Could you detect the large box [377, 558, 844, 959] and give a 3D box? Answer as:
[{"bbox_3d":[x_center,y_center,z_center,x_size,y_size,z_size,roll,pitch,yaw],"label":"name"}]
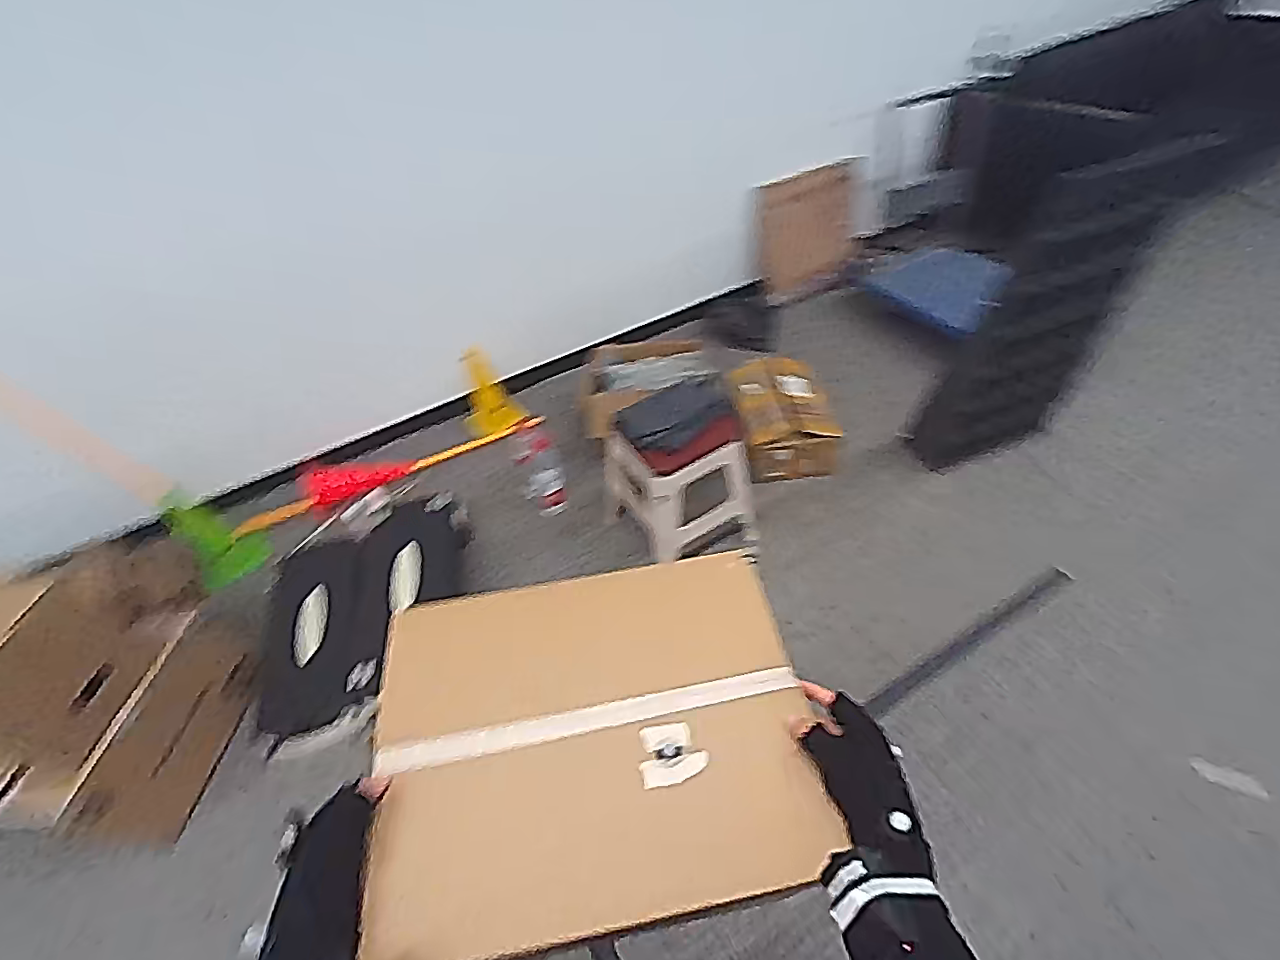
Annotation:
[{"bbox_3d":[-0.040,0.336,0.653,0.408,0.320,0.320,-9,50,-5],"label":"large box"}]
